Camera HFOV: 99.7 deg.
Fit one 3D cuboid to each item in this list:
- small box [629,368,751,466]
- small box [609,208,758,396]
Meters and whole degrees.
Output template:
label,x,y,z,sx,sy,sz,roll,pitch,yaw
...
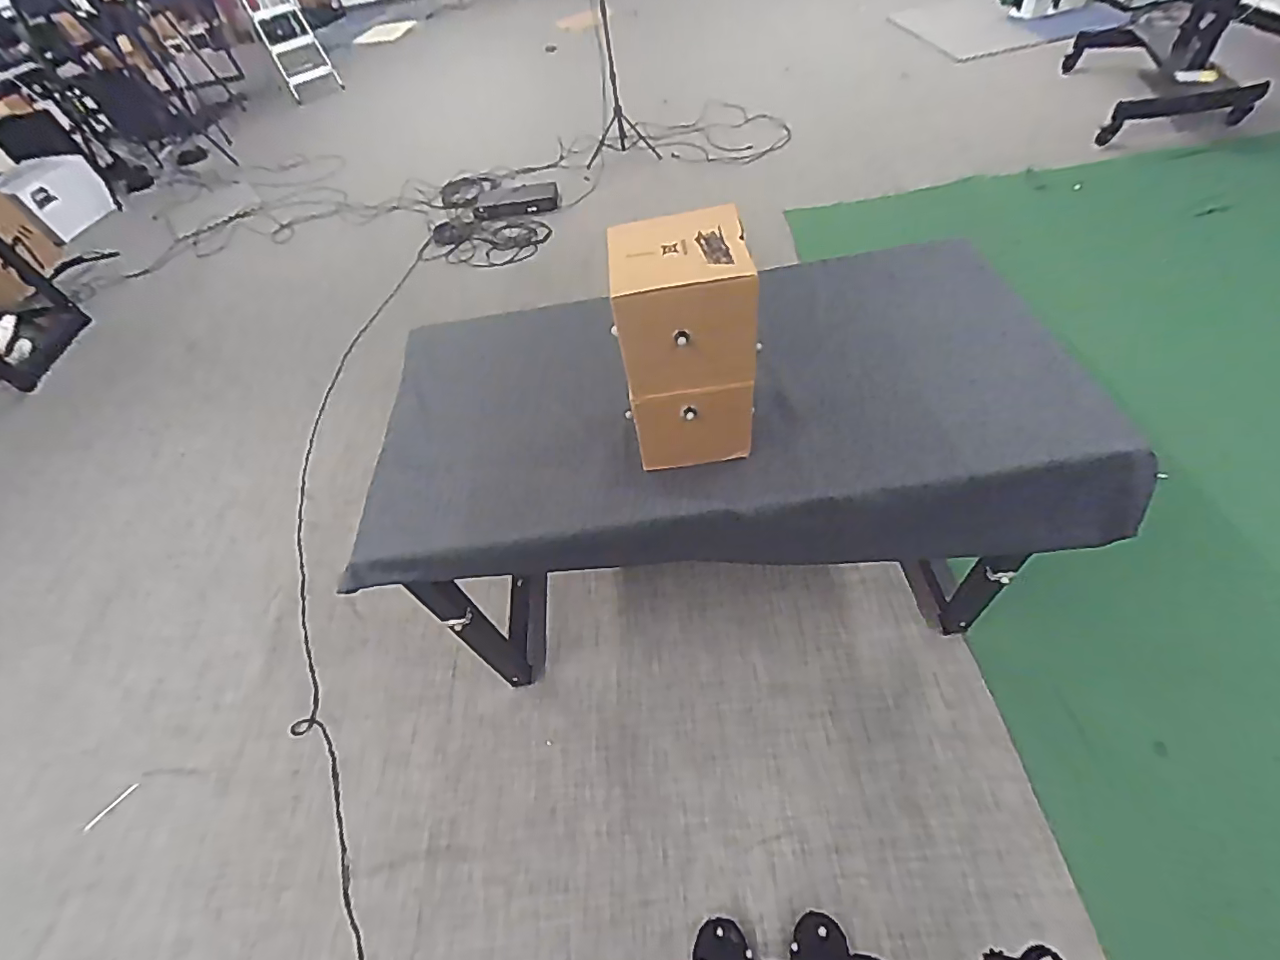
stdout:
label,x,y,z,sx,sy,sz,roll,pitch,yaw
small box,0.076,-0.137,0.868,0.179,0.176,0.168,-7,53,3
small box,0.058,-0.237,0.739,0.179,0.176,0.168,-7,53,5
